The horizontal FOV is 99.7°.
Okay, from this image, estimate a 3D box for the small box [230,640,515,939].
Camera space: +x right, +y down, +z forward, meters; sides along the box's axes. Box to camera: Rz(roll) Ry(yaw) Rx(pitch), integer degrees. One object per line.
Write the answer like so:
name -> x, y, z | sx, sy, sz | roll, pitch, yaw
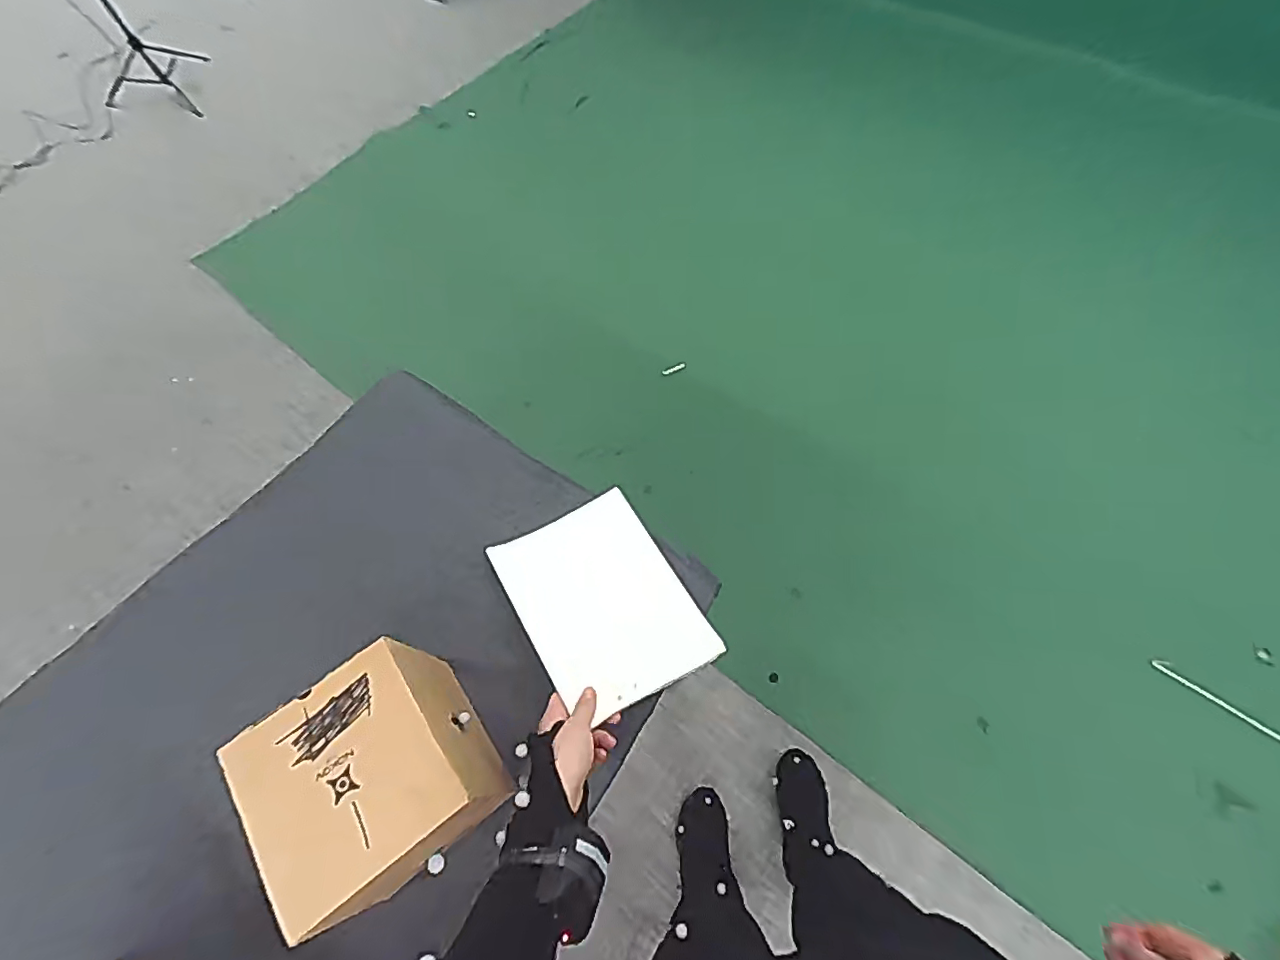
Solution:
small box -> -0.253, 0.295, 0.547 | 0.168, 0.176, 0.179 | -35, 67, -13
